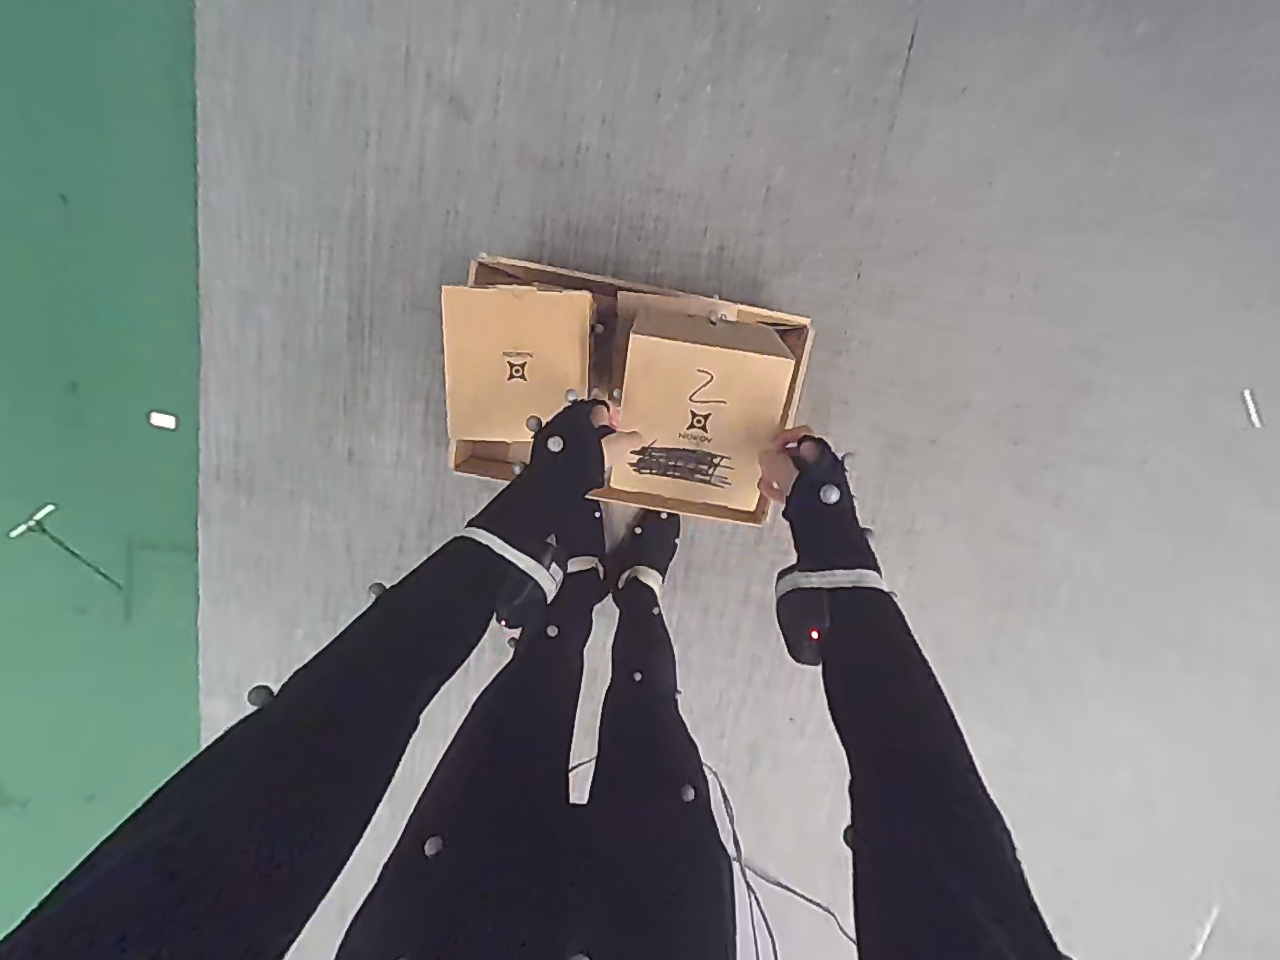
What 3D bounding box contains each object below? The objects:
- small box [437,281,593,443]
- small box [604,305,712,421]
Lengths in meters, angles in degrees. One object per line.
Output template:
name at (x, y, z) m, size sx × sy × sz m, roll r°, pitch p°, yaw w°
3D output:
small box at (-0.149, -0.151, 0.696) m, size 0.168 × 0.176 × 0.179 m, roll 2°, pitch 103°, yaw -2°
small box at (0.030, -0.220, 1.021) m, size 0.168 × 0.176 × 0.179 m, roll 10°, pitch 103°, yaw -2°
